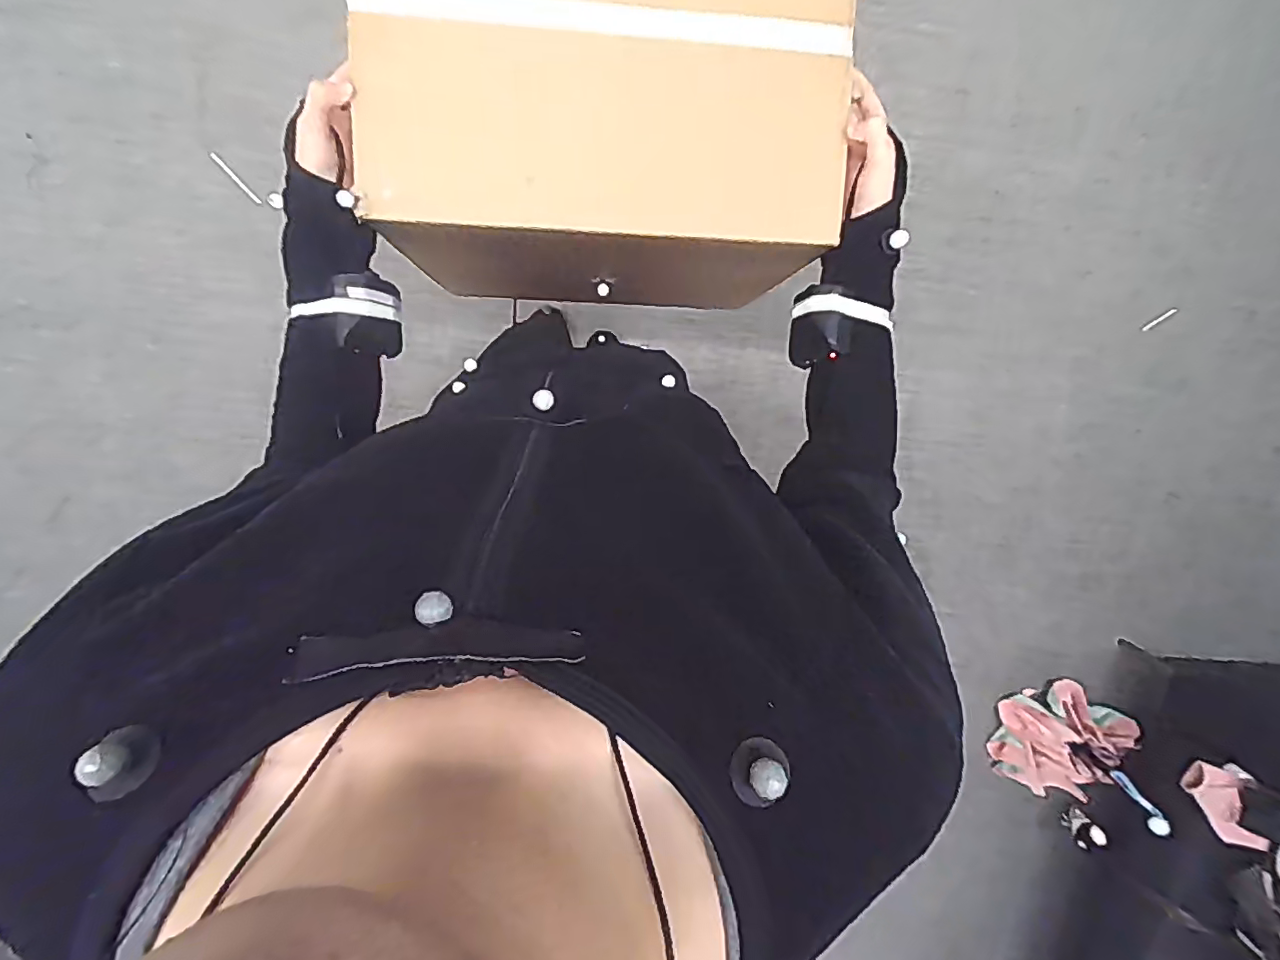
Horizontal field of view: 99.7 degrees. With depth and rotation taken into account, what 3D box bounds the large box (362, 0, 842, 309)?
[{"bbox_3d":[-0.037,-0.374,0.599,0.408,0.320,0.320,1,96,-5],"label":"large box"}]
